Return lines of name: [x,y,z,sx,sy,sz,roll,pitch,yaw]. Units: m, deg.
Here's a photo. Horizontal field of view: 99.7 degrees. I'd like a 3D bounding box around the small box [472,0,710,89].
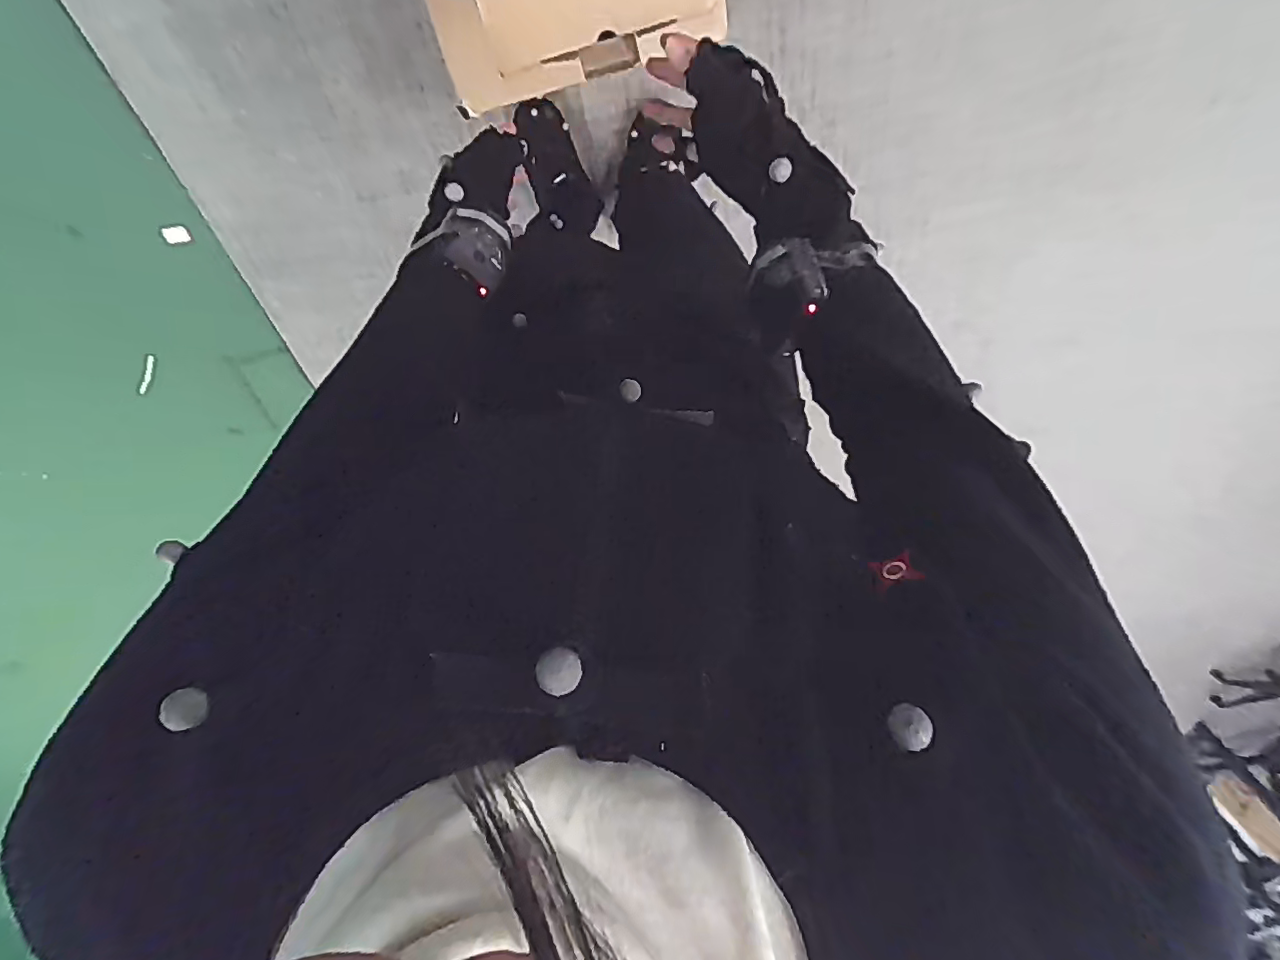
small box: [-0.054,-0.427,0.397,0.168,0.176,0.179,-15,135,3]
